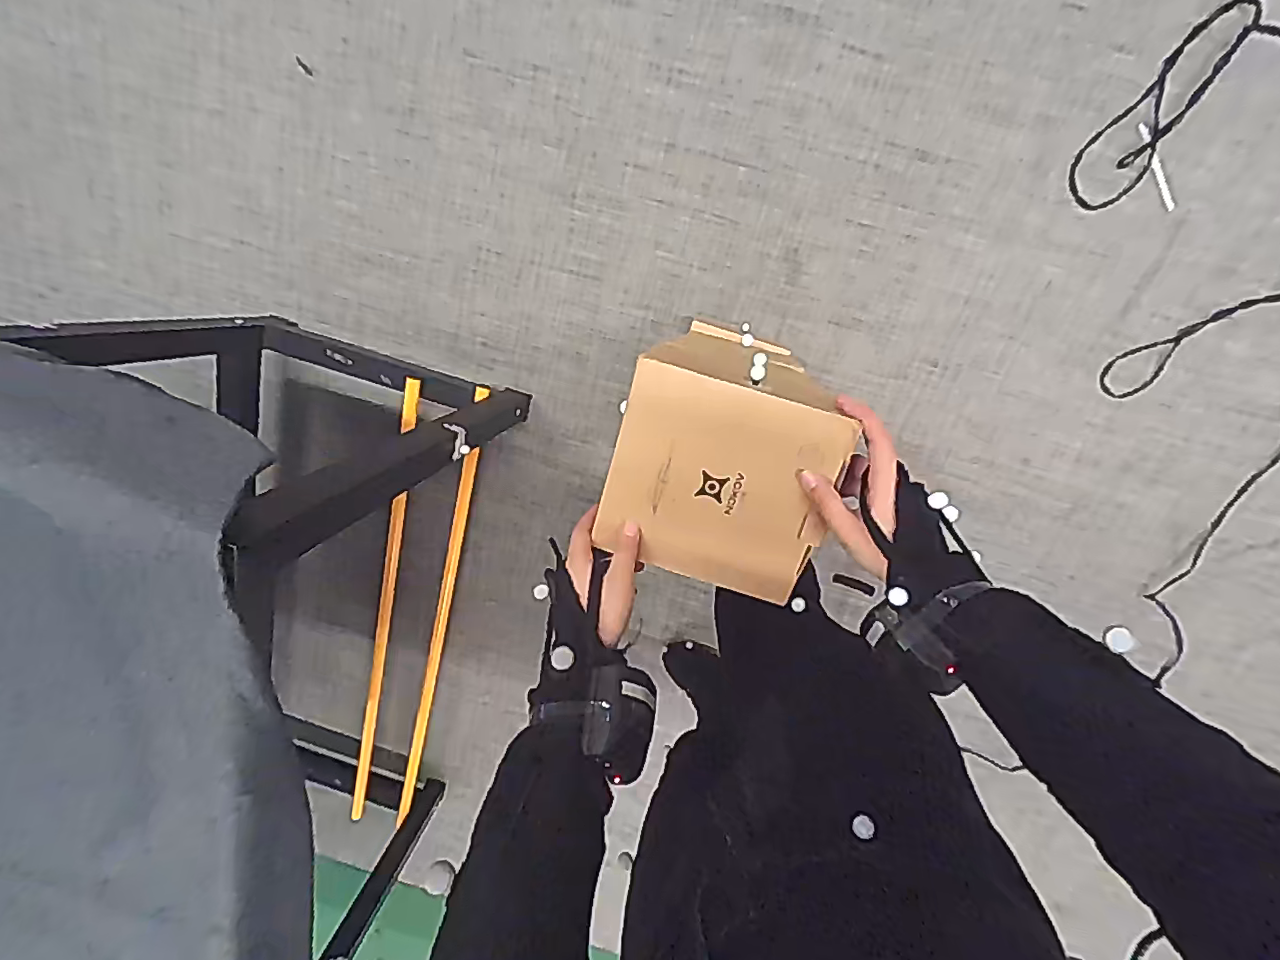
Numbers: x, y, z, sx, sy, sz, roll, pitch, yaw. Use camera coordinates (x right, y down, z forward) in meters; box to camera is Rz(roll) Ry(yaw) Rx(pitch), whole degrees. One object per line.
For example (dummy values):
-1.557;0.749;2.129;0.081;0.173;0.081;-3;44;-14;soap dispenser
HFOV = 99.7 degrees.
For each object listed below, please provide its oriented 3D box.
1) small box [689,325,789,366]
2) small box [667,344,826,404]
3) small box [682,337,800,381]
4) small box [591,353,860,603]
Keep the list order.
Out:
0.147;-0.169;0.965;0.168;0.176;0.179;19;109;3;small box
0.098;-0.063;0.659;0.179;0.176;0.168;17;108;2;small box
0.125;-0.107;0.815;0.168;0.176;0.179;16;108;3;small box
0.072;-0.017;0.506;0.179;0.176;0.168;17;108;3;small box
